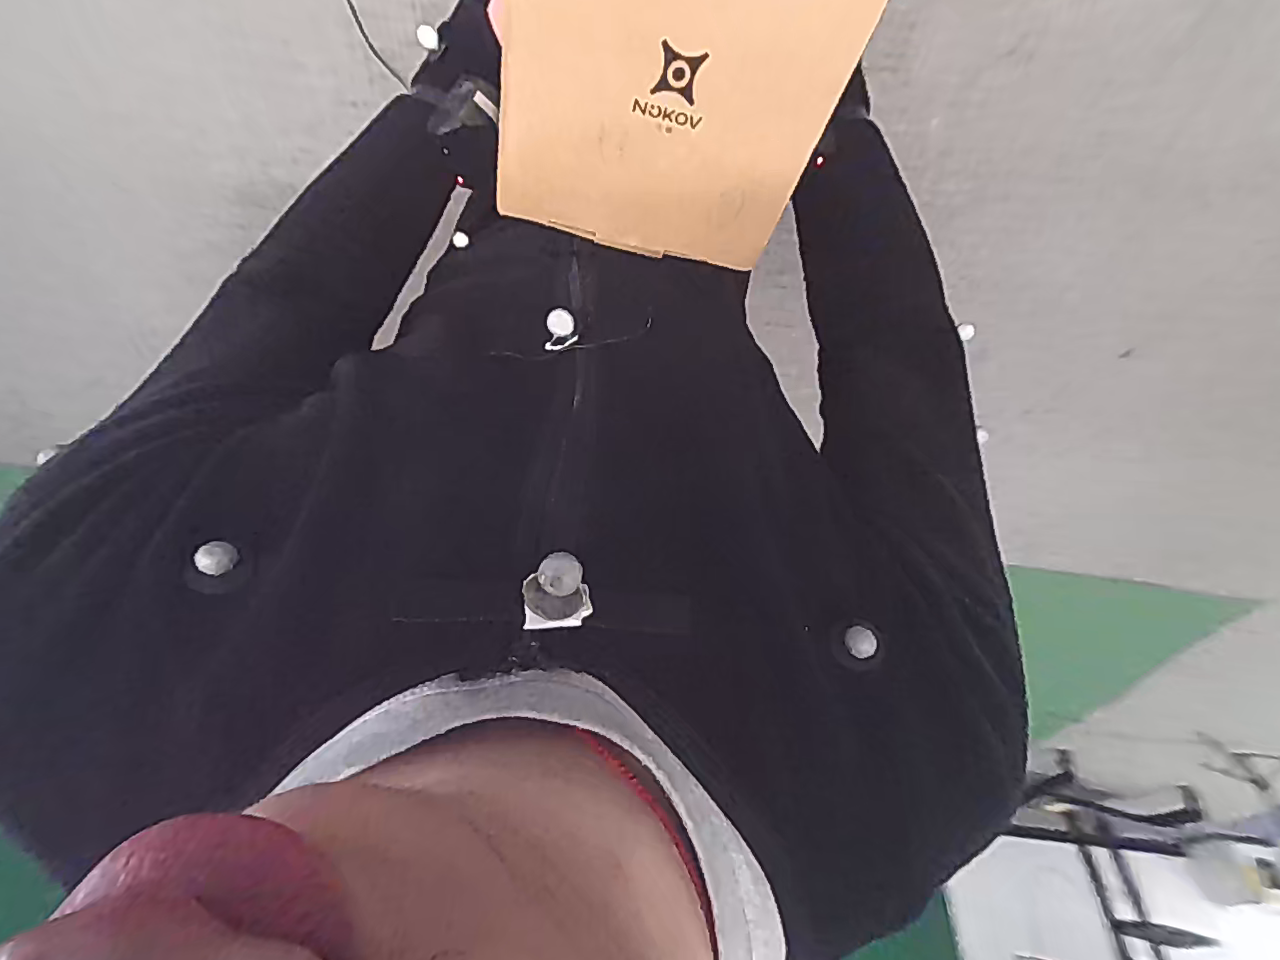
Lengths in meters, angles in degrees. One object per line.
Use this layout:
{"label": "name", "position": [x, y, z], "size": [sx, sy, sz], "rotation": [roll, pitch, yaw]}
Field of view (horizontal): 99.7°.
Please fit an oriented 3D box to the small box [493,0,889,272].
{"label": "small box", "position": [0.014, -0.254, 0.300], "size": [0.168, 0.176, 0.179], "rotation": [6, 148, -11]}
